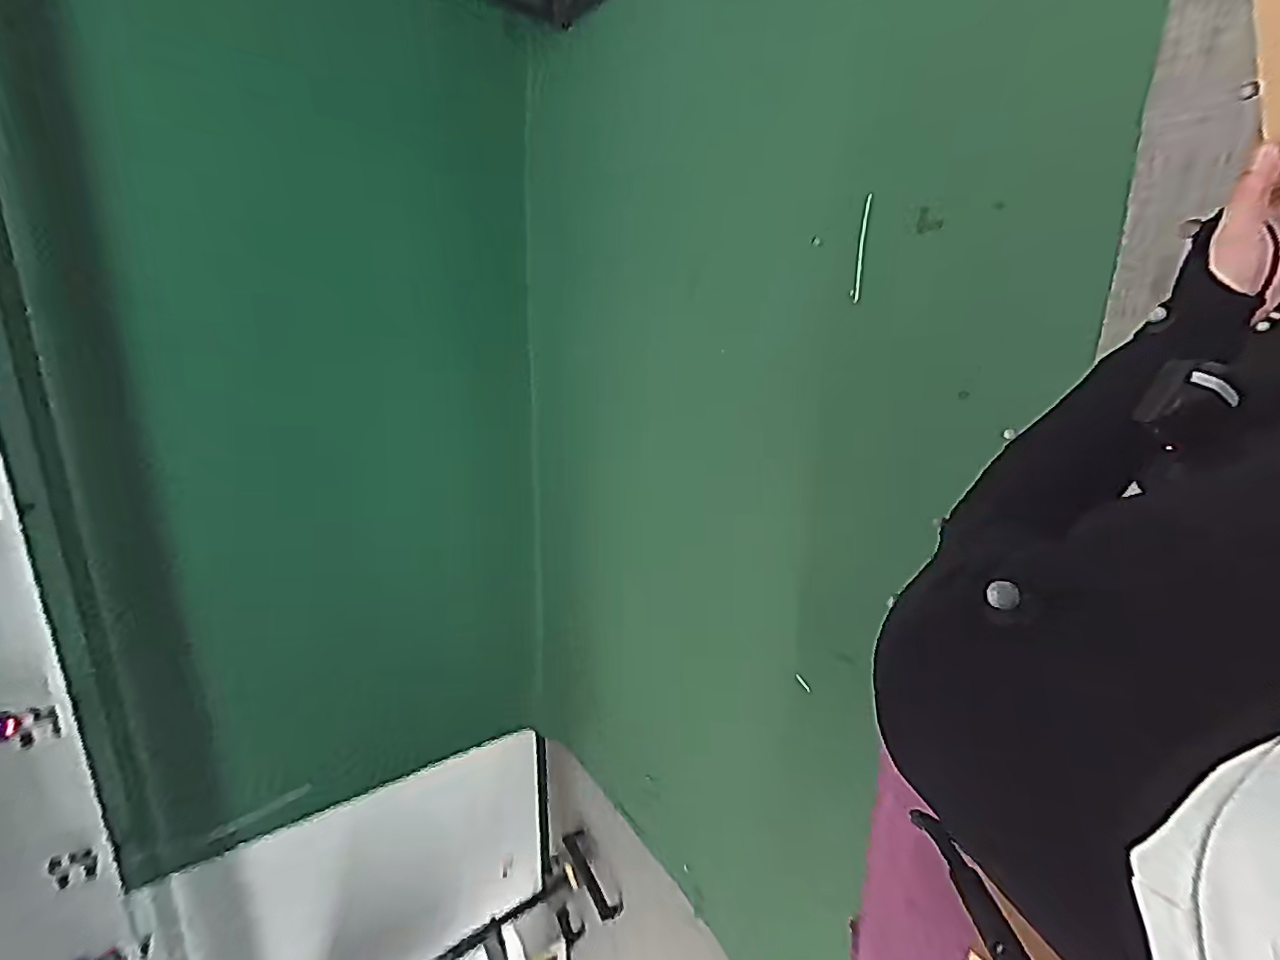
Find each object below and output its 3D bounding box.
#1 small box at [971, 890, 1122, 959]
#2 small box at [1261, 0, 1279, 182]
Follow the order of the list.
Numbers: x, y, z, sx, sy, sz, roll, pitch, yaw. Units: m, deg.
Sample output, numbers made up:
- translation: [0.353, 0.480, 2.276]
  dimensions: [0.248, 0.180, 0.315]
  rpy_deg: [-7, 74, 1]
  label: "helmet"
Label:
- translation: [0.609, 0.786, 0.813]
  dimensions: [0.168, 0.176, 0.179]
  rpy_deg: [20, 115, 49]
  label: "small box"
- translation: [0.555, -0.317, 0.364]
  dimensions: [0.168, 0.176, 0.179]
  rpy_deg: [-2, 96, 54]
  label: "small box"
